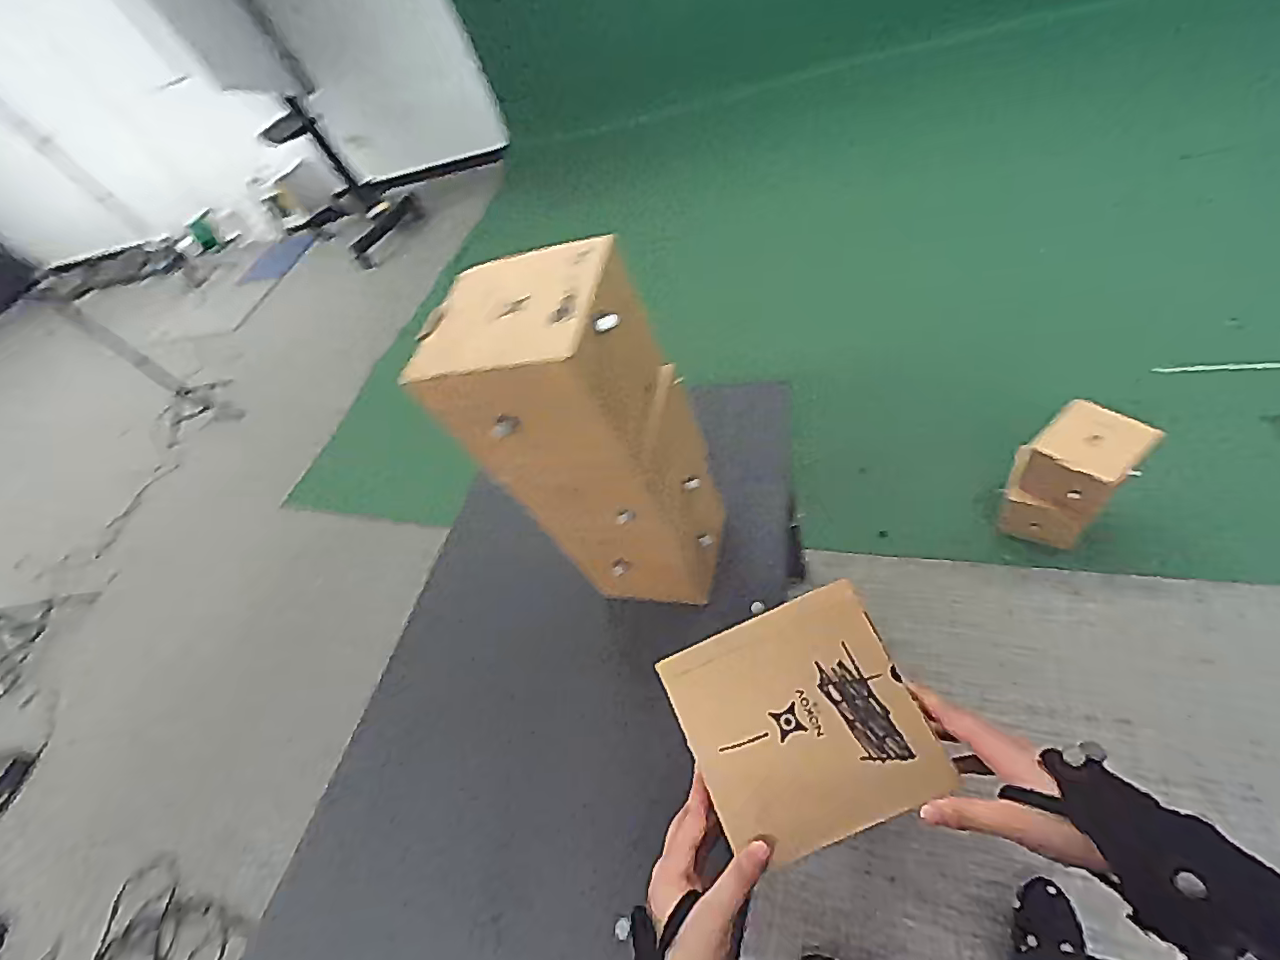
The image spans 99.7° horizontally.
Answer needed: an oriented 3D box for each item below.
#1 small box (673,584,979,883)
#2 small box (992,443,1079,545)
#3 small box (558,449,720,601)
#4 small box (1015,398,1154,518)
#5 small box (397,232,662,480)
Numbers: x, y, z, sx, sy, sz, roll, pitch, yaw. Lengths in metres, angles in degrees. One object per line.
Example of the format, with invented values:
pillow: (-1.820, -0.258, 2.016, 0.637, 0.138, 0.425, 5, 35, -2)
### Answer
small box: (0.146, 0.208, 0.483, 0.179, 0.176, 0.168, -24, 69, 3)
small box: (1.012, 0.038, 1.367, 0.168, 0.176, 0.179, 18, 64, 30)
small box: (0.011, 0.068, 0.798, 0.179, 0.176, 0.168, 0, 57, 23)
small box: (0.990, -0.046, 1.225, 0.179, 0.176, 0.168, -41, 53, -10)
small box: (-0.094, -0.111, 0.544, 0.179, 0.176, 0.168, -3, 56, 22)
